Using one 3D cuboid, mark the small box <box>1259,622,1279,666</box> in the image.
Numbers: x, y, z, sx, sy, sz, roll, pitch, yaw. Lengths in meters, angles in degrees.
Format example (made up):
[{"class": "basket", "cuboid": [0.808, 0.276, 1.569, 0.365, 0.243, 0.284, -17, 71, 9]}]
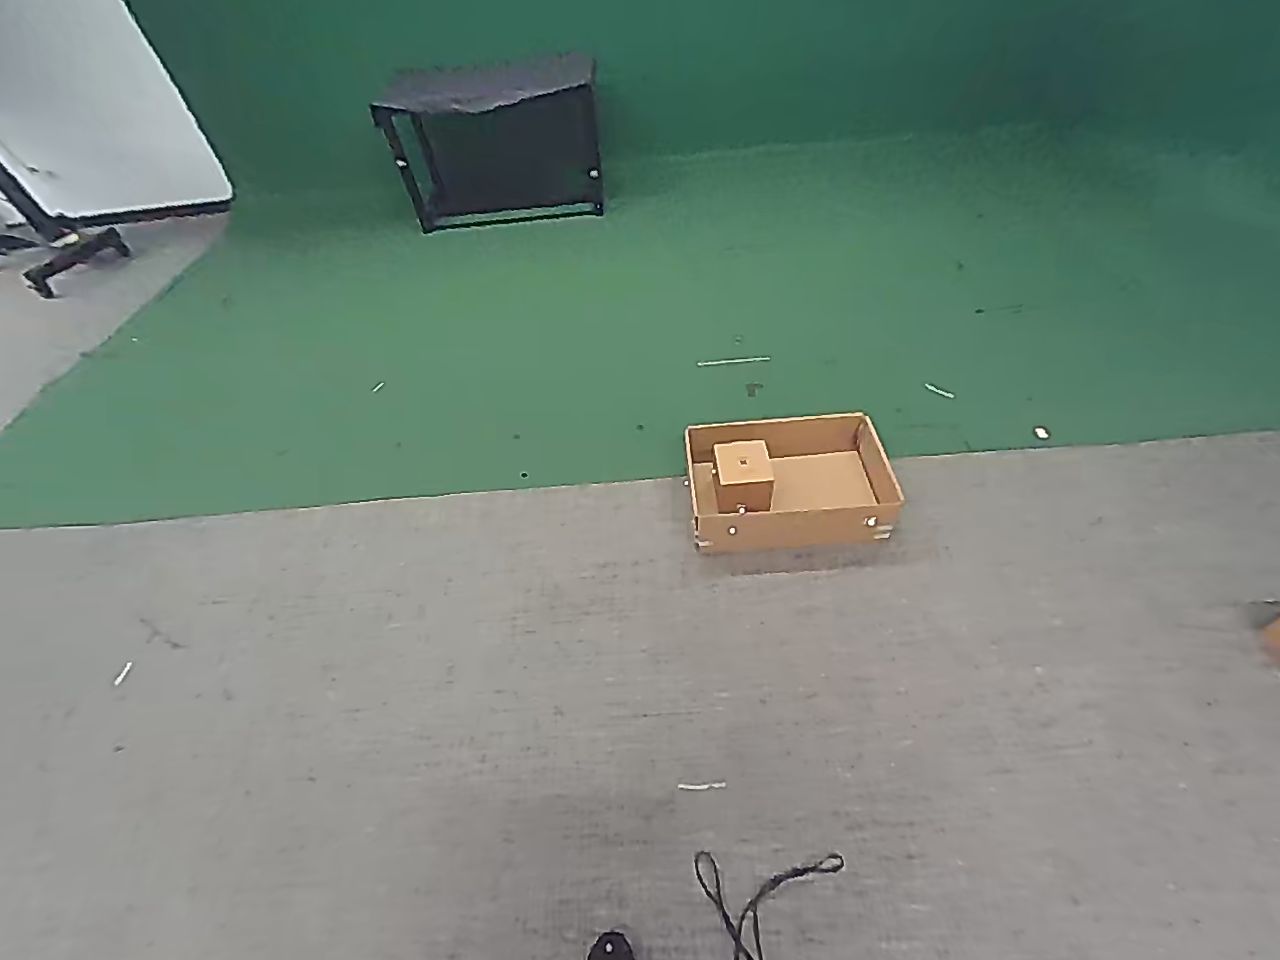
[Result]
[{"class": "small box", "cuboid": [1.688, 0.407, 1.297, 0.179, 0.176, 0.168, -1, 48, 6]}]
